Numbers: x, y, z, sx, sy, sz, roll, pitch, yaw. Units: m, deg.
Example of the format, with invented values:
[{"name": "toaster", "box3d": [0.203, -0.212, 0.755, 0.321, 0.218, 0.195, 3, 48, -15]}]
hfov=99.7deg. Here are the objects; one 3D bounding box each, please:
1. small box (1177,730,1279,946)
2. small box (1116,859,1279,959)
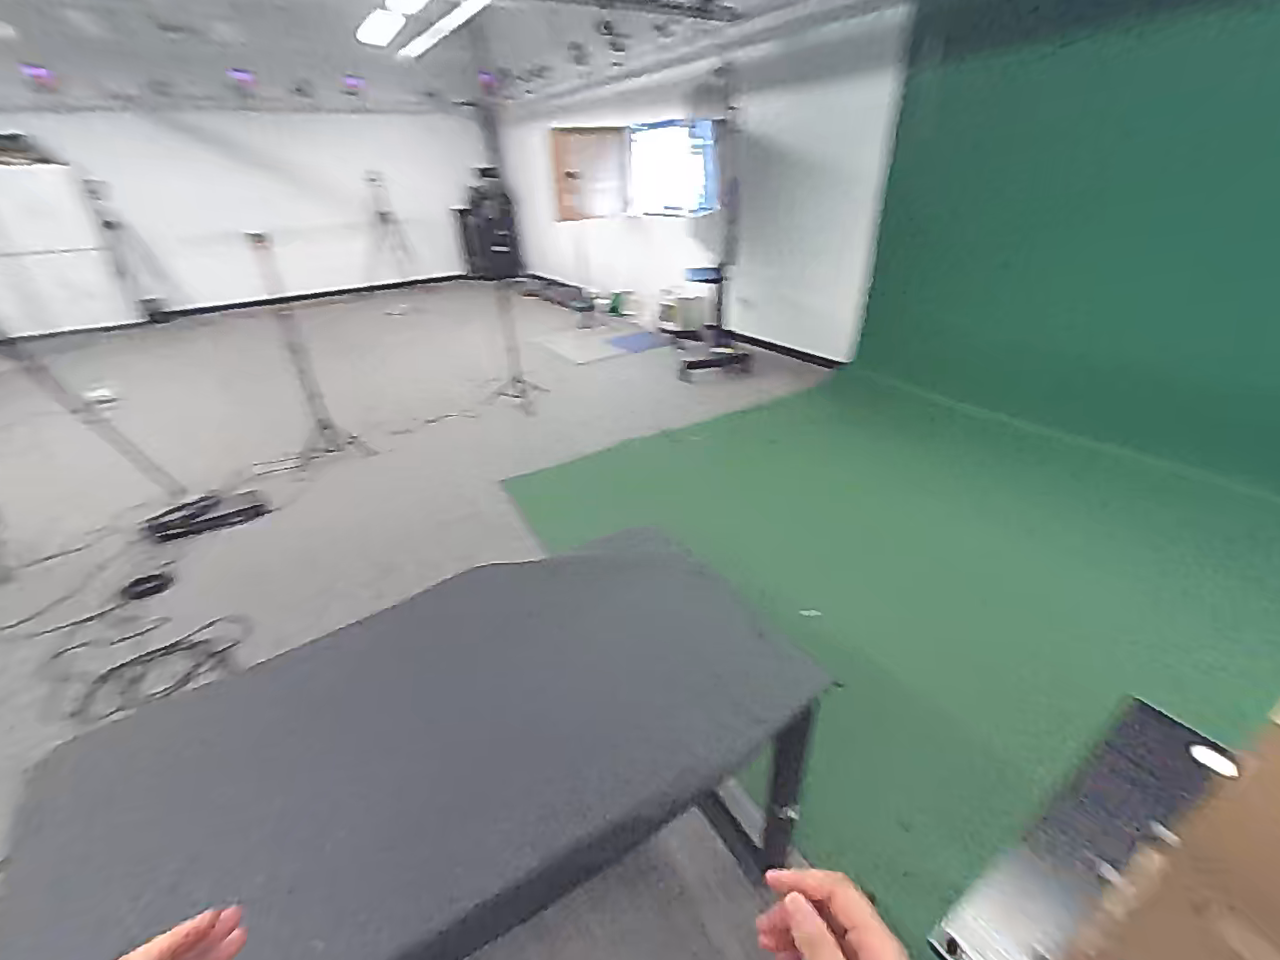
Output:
[{"name": "small box", "box3d": [0.516, 0.241, 0.342, 0.168, 0.176, 0.179, -16, 33, -24]}, {"name": "small box", "box3d": [0.531, 0.378, 0.428, 0.179, 0.176, 0.168, -17, 34, -25]}]
